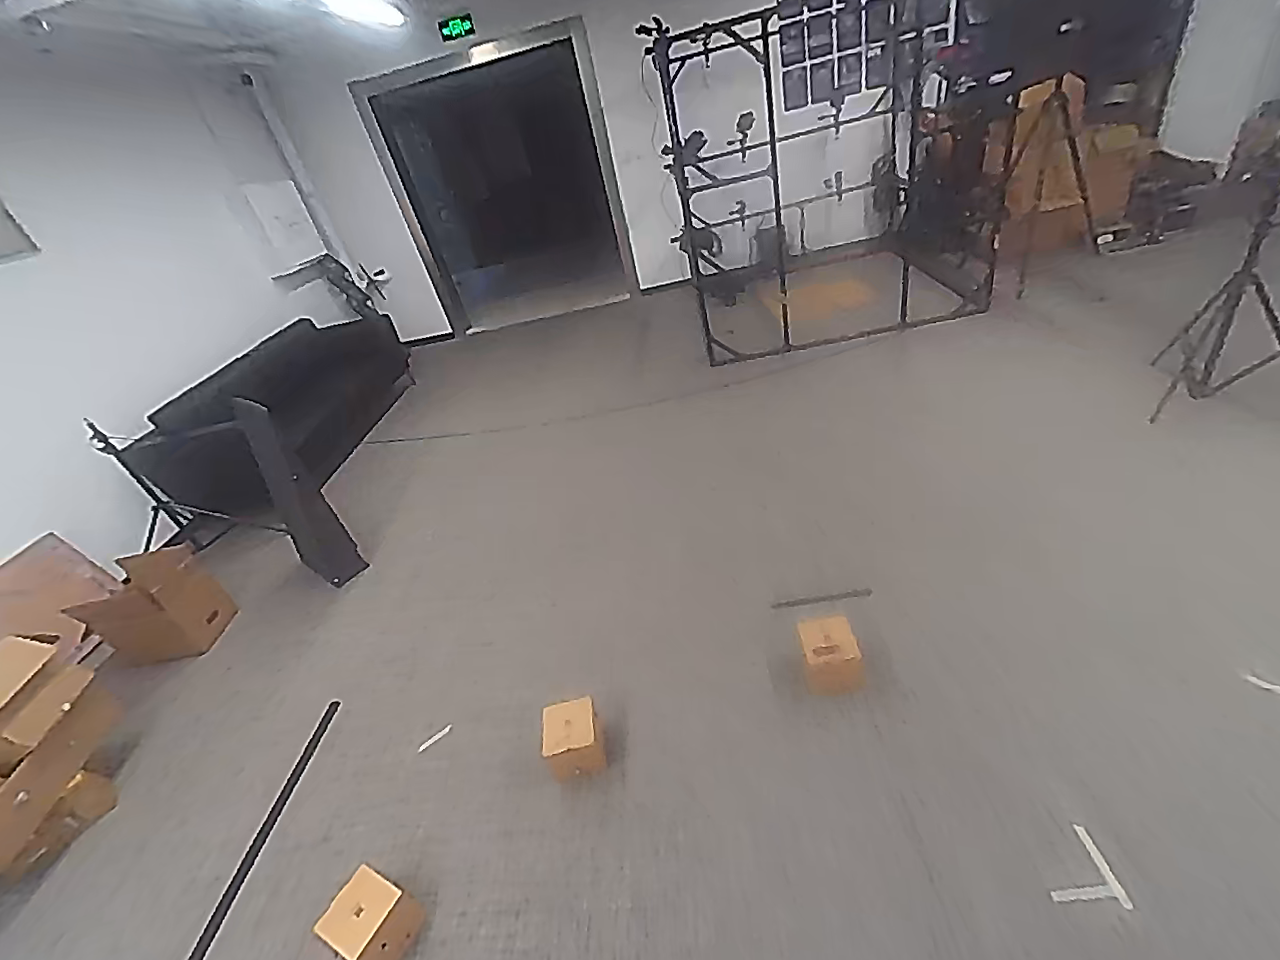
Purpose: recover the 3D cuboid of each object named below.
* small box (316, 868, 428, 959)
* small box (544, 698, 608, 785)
[{"bbox_3d":[-0.710,1.199,1.451,0.179,0.176,0.168,6,38,30],"label":"small box"},{"bbox_3d":[-0.208,0.854,1.764,0.168,0.176,0.179,-15,33,0],"label":"small box"}]
